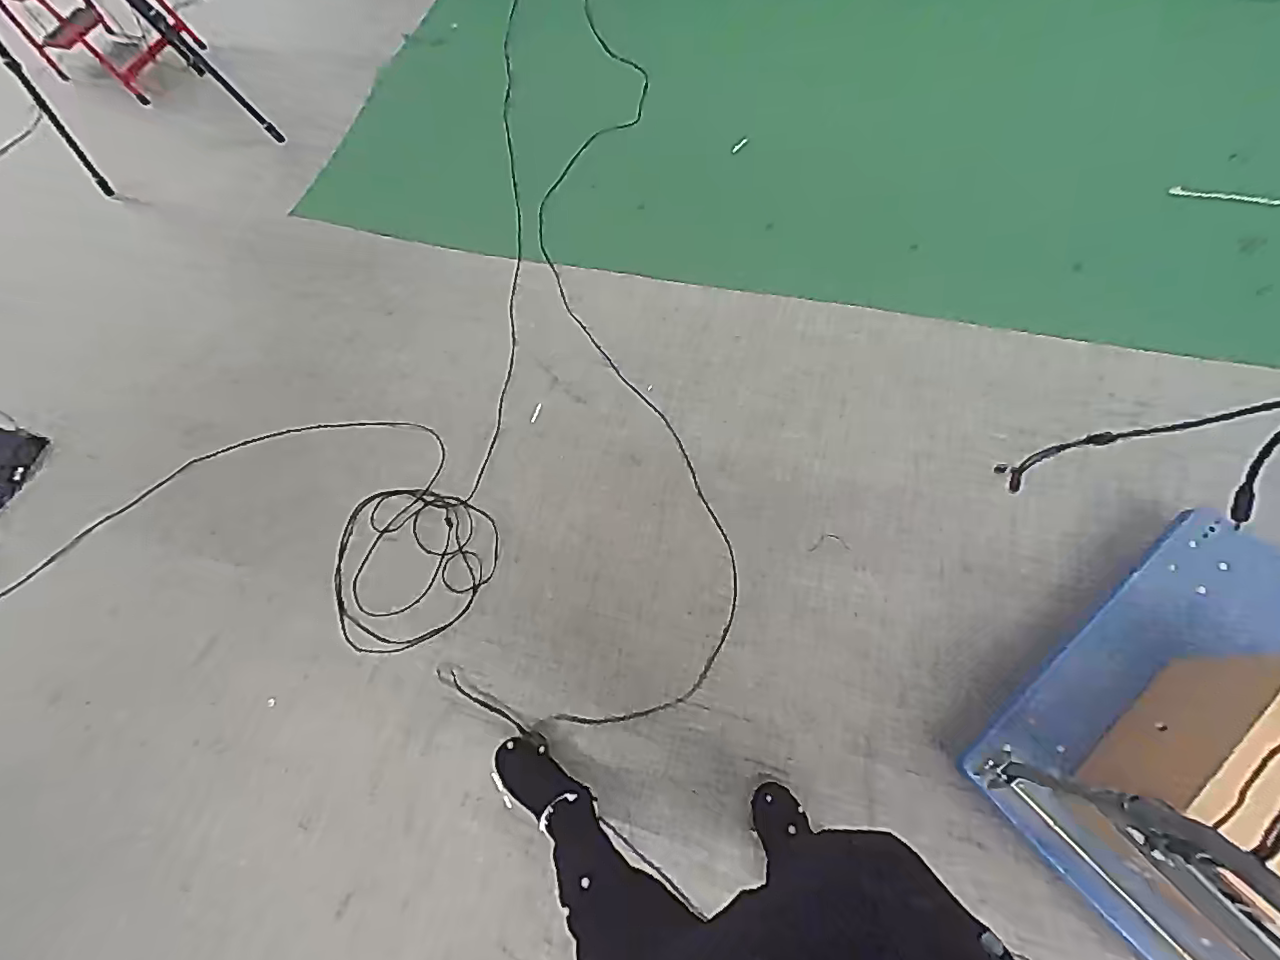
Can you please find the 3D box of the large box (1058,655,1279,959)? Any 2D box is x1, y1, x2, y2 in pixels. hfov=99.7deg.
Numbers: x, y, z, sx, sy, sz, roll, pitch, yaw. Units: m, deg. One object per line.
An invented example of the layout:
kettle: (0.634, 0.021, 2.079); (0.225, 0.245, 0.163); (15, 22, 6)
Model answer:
large box: (1.065, 0.569, 0.939); (0.408, 0.320, 0.320); (-40, 70, -10)
